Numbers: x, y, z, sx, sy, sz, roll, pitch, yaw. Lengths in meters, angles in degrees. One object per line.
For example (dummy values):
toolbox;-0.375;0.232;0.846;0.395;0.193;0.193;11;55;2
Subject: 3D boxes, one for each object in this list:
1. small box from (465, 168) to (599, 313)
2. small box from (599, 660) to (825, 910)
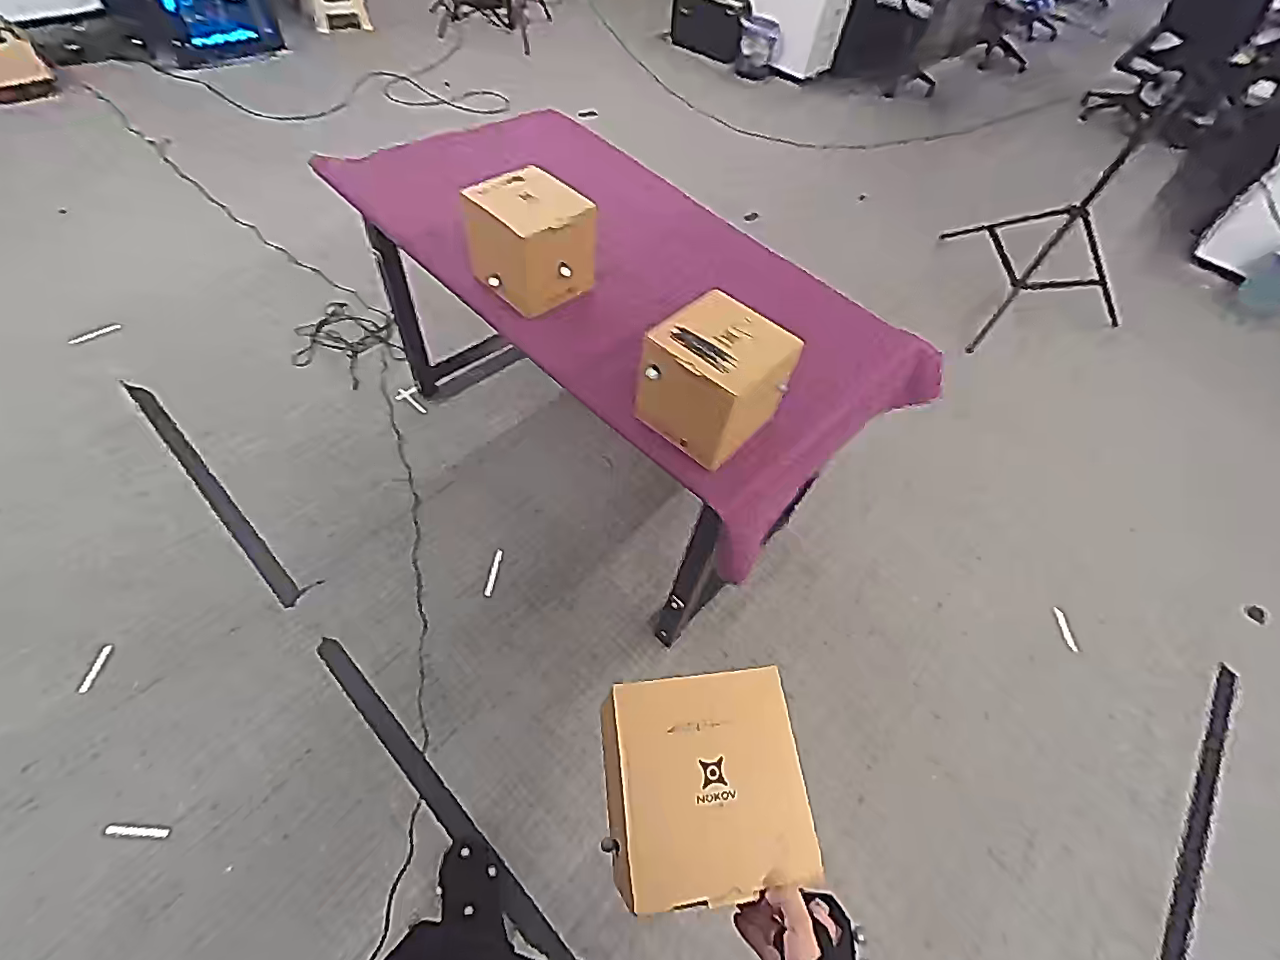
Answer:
small box;-0.193;-0.434;0.998;0.168;0.176;0.179;-38;68;-28
small box;0.053;0.293;0.543;0.168;0.176;0.179;-3;61;-12
